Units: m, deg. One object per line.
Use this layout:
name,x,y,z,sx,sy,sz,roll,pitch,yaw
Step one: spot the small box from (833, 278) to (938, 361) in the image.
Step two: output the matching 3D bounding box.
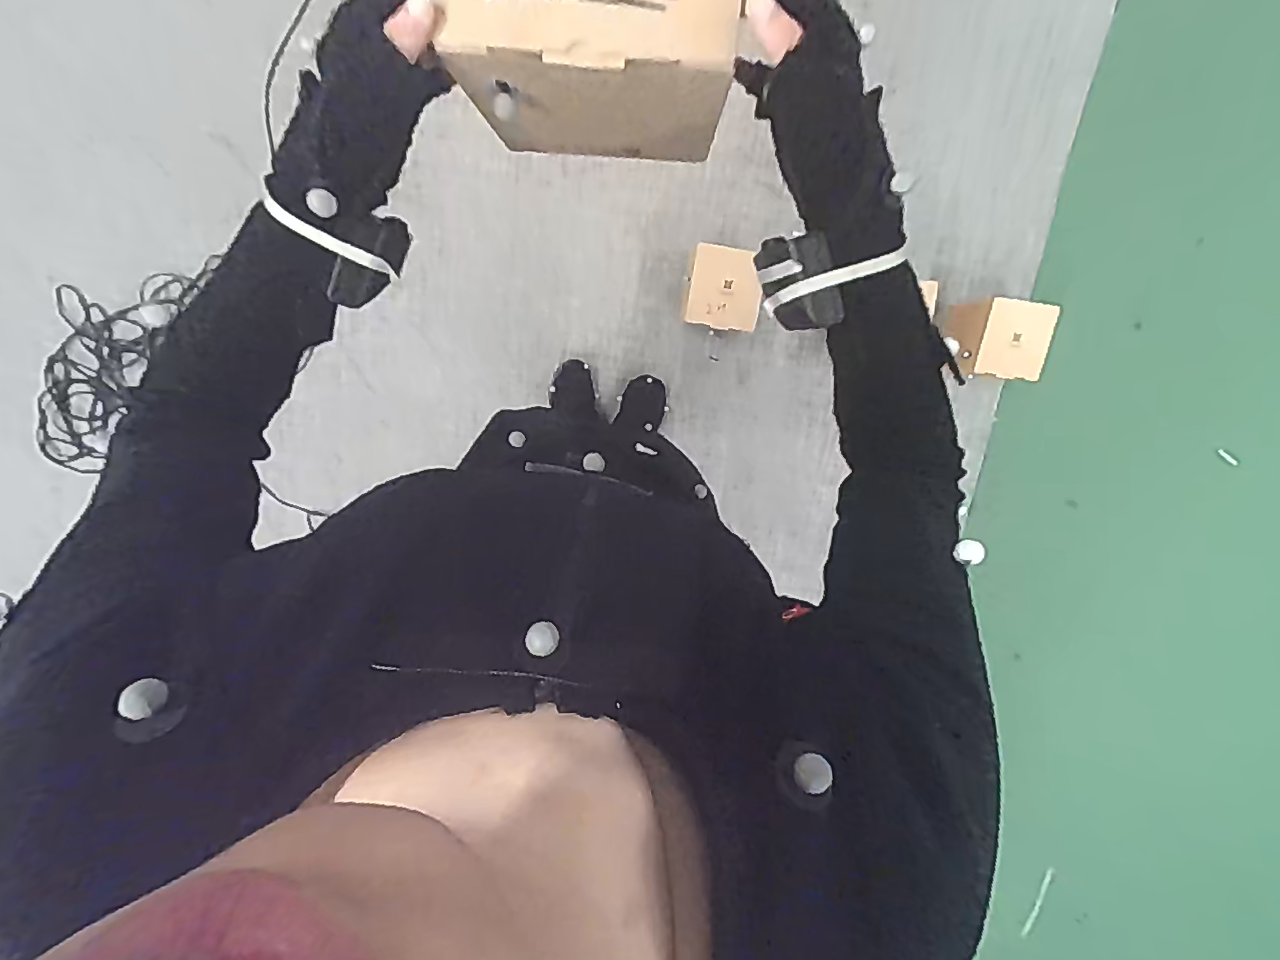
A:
small box,0.590,-0.387,1.326,0.168,0.176,0.179,3,102,-3

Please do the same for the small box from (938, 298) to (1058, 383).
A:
small box,0.879,-0.345,1.347,0.168,0.176,0.179,7,103,-3

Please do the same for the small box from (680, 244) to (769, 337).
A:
small box,0.194,-0.446,1.295,0.168,0.176,0.179,9,104,-3
